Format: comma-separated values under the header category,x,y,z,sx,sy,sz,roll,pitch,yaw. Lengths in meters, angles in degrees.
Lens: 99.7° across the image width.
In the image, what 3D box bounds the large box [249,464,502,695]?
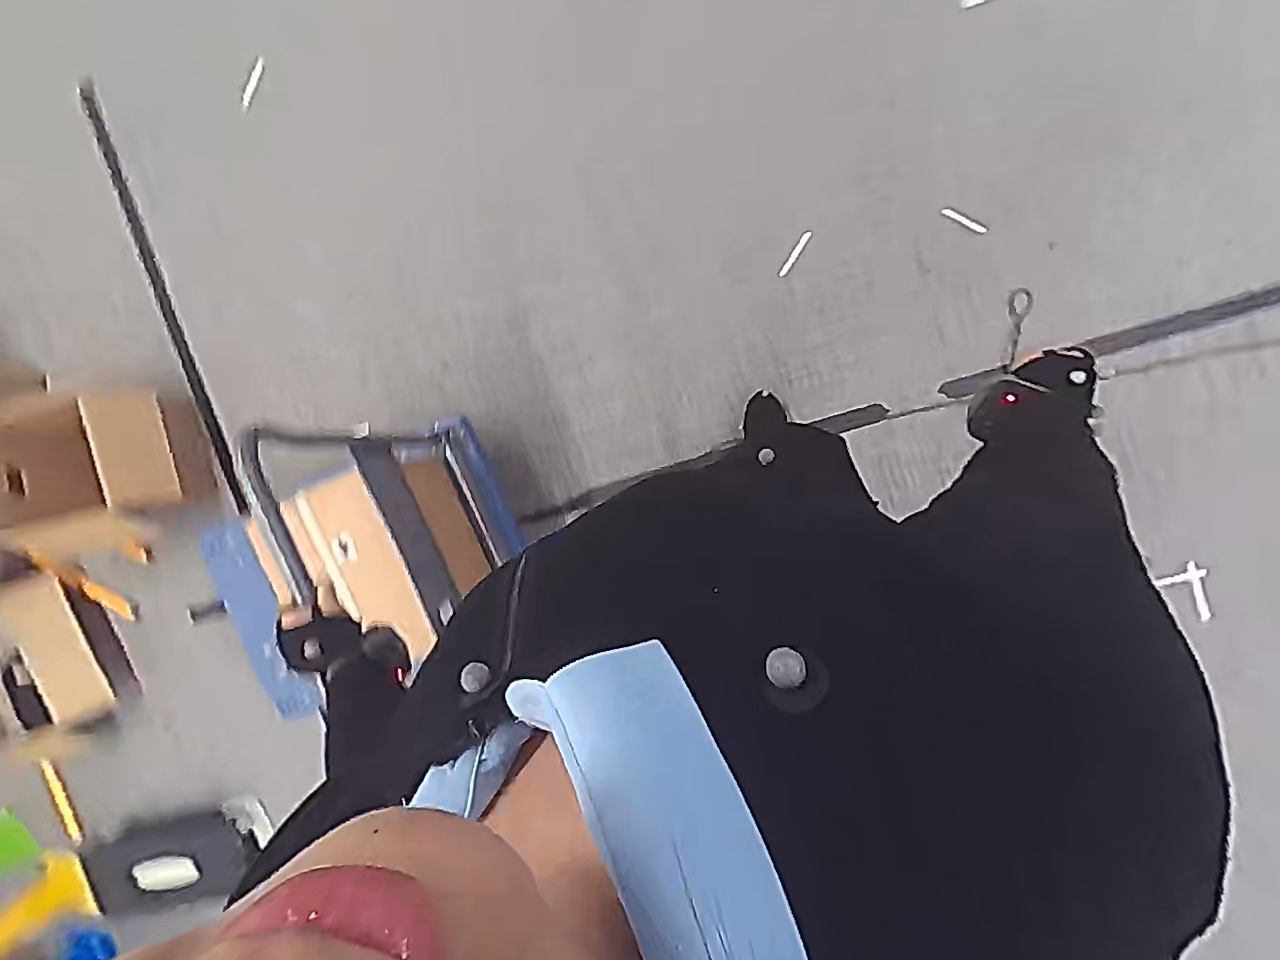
category,x,y,z,sx,sy,sz,roll,pitch,yaw
large box,-0.588,0.209,1.268,0.320,0.320,0.408,-24,91,9
